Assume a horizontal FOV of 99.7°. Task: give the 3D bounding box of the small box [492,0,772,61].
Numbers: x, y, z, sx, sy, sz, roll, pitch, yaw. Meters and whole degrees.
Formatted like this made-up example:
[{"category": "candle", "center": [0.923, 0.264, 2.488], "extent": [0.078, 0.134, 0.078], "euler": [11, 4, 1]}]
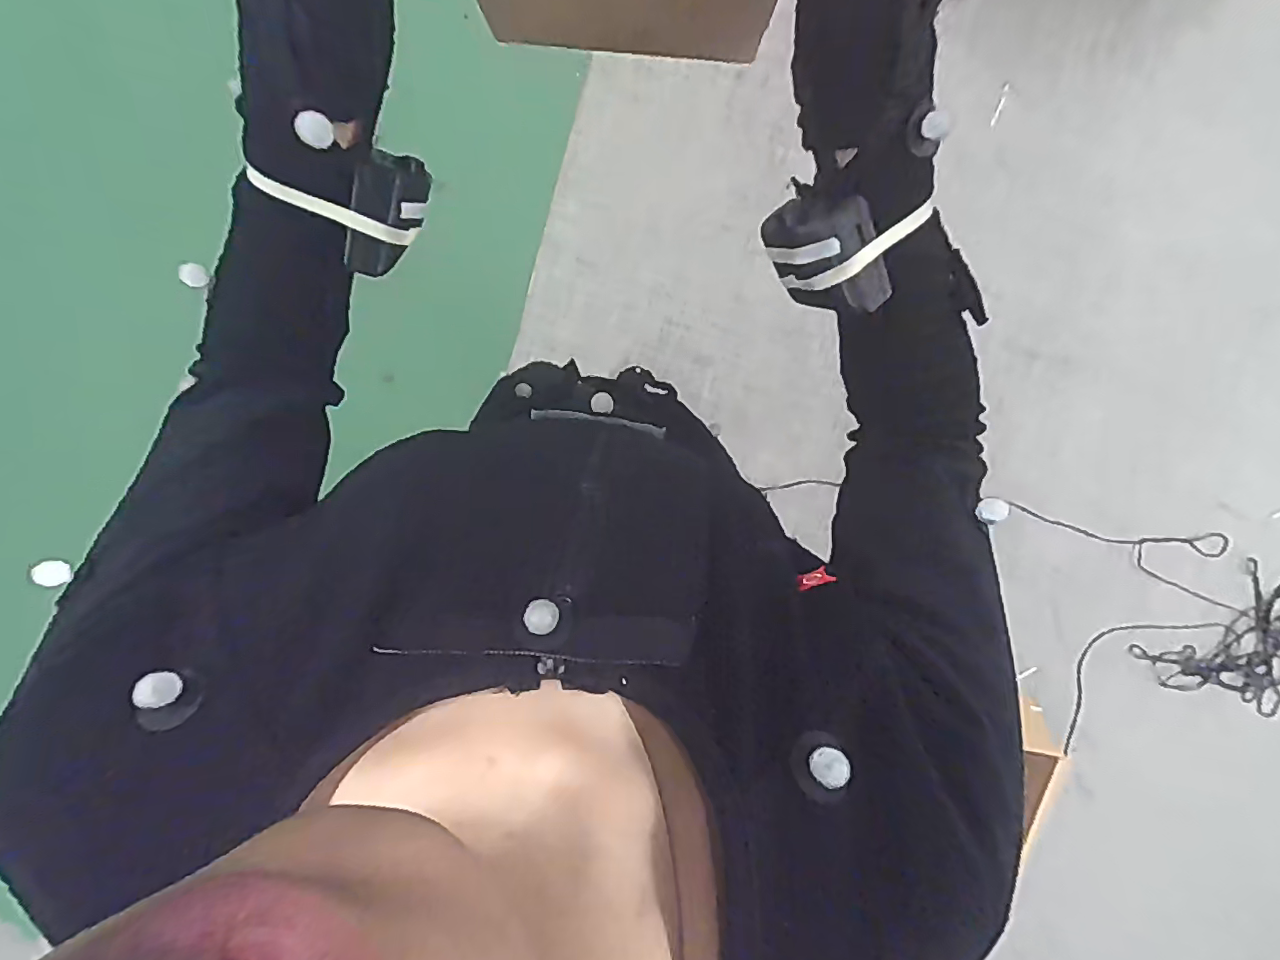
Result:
[{"category": "small box", "center": [-0.002, -0.346, 0.267], "extent": [0.179, 0.176, 0.168], "euler": [4, 103, -1]}]
